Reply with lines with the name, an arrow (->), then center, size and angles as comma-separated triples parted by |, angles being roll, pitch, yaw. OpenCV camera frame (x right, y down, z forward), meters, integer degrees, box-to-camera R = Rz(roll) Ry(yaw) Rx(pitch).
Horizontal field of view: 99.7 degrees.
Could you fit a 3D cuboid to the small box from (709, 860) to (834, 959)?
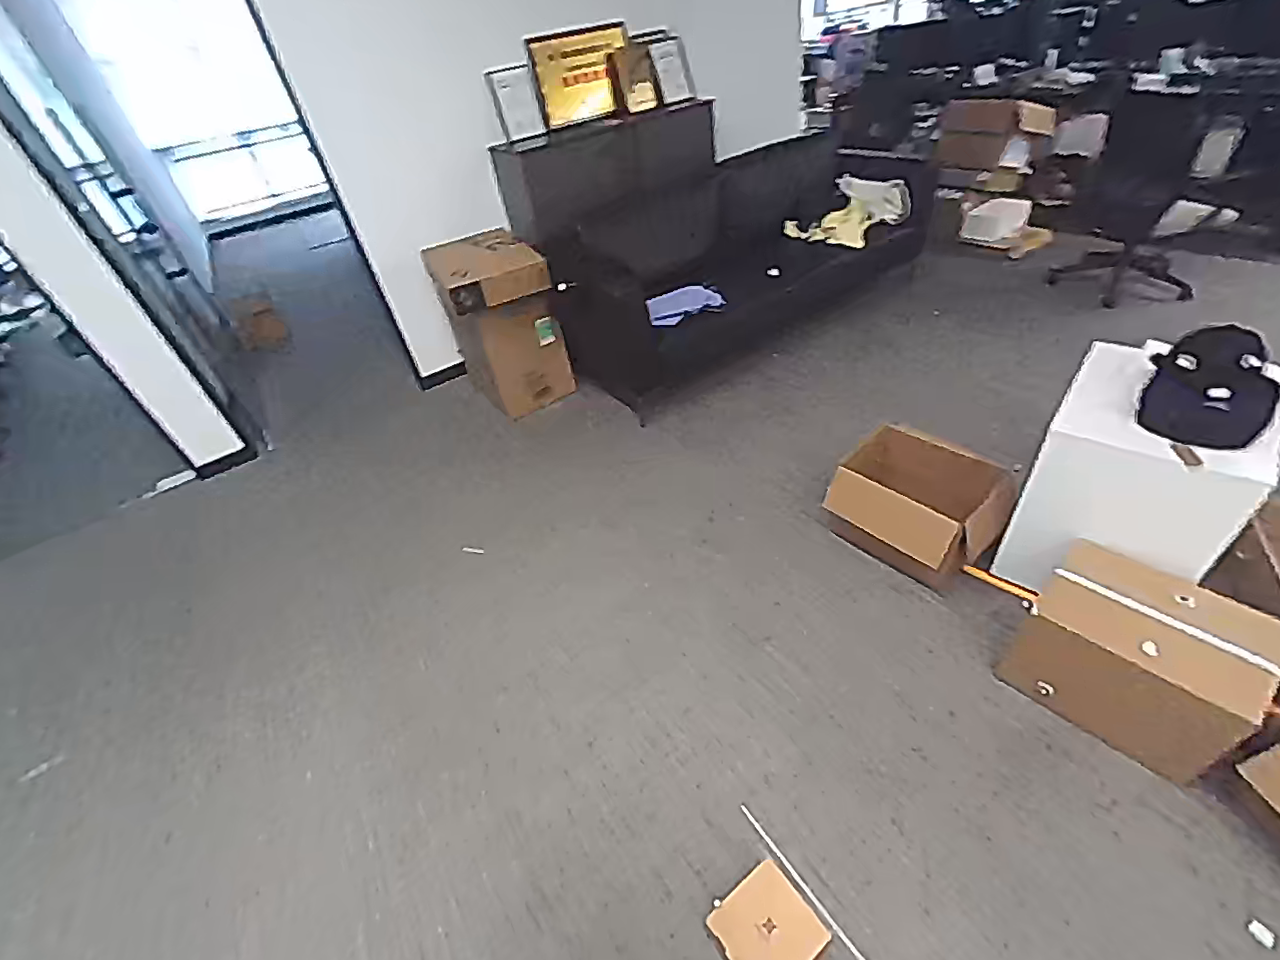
small box -> 0.256, 0.911, 1.072 | 0.179, 0.176, 0.168 | -31, 43, -21
